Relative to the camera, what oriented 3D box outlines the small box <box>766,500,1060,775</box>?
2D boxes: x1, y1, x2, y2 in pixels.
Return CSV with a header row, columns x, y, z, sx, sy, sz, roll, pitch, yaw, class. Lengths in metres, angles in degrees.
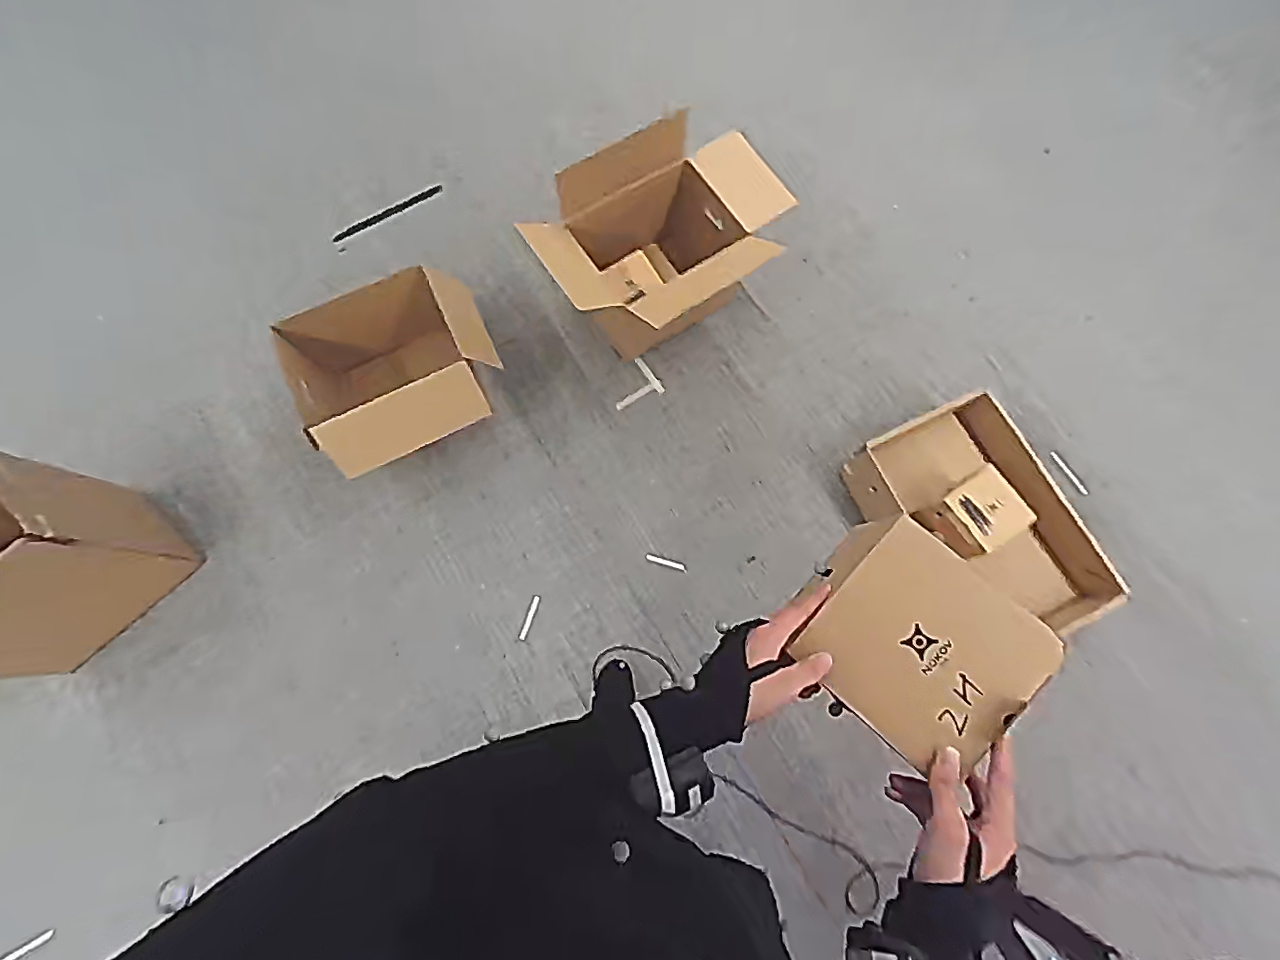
x,y,z,sx,sy,sz,roll,pitch,yaw,class
0.247,0.145,0.545,0.179,0.176,0.168,41,89,10,small box
